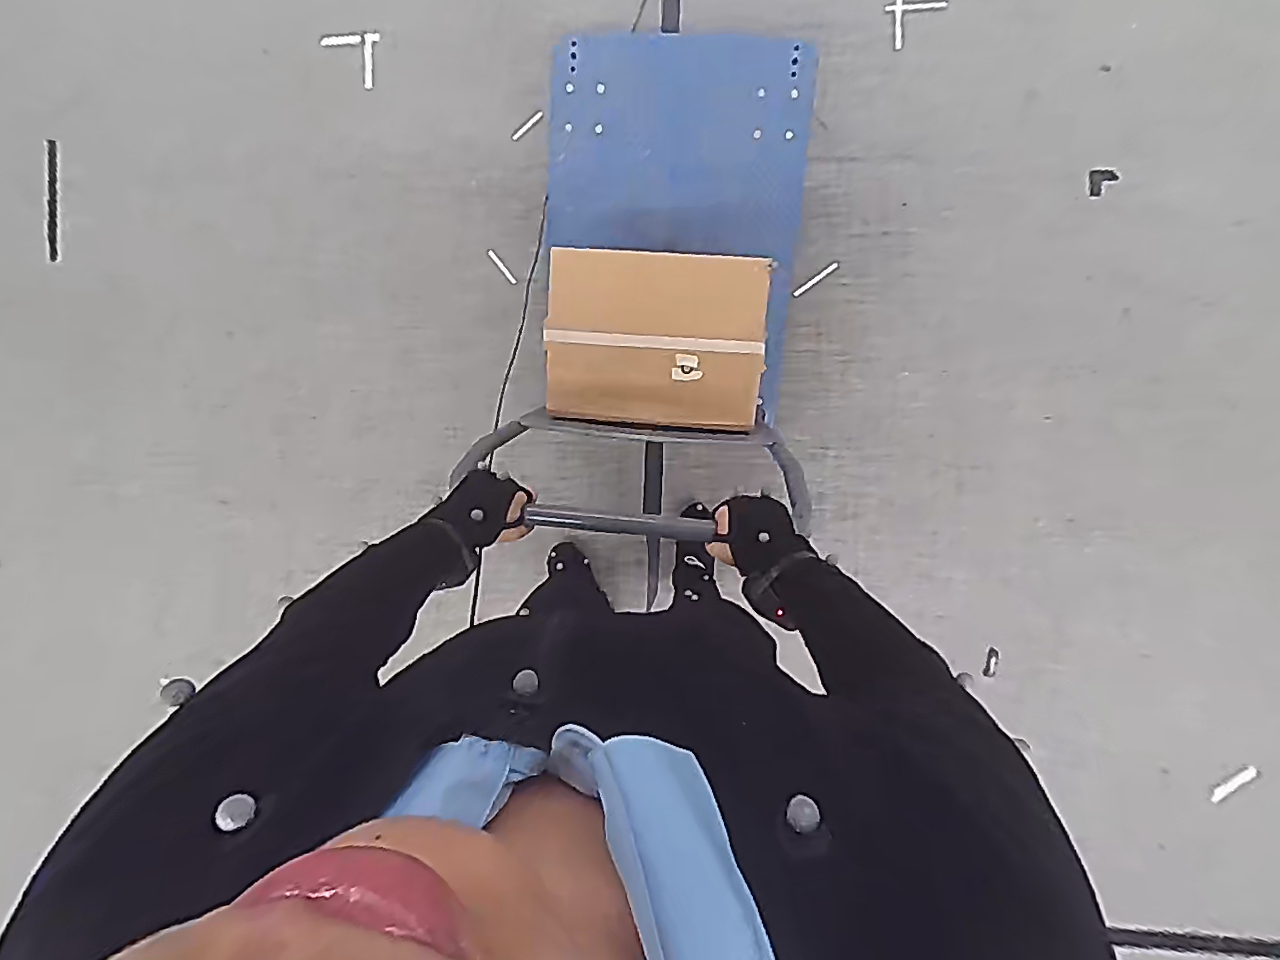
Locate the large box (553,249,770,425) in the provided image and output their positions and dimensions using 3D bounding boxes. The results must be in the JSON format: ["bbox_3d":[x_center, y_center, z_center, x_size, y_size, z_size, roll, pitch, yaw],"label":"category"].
[{"bbox_3d":[0.041,-0.297,1.170,0.408,0.320,0.320,4,103,3],"label":"large box"}]
